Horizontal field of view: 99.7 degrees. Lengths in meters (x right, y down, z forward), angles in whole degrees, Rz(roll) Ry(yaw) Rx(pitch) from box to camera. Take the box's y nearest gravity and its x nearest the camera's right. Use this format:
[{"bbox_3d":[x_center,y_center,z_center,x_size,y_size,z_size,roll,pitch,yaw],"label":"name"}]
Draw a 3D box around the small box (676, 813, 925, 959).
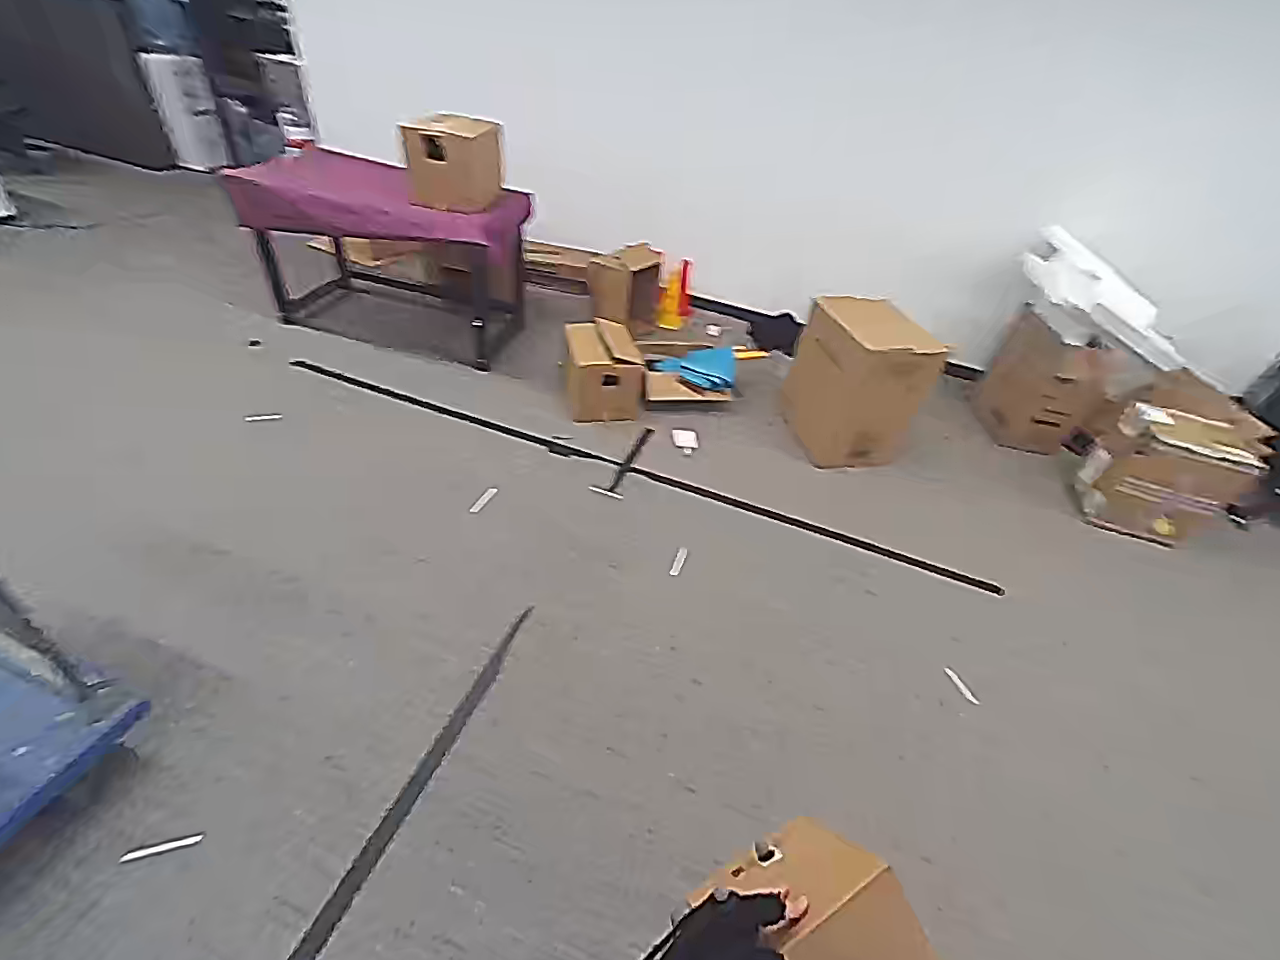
[{"bbox_3d":[0.159,0.471,0.529,0.168,0.176,0.179,-24,80,-20],"label":"small box"}]
